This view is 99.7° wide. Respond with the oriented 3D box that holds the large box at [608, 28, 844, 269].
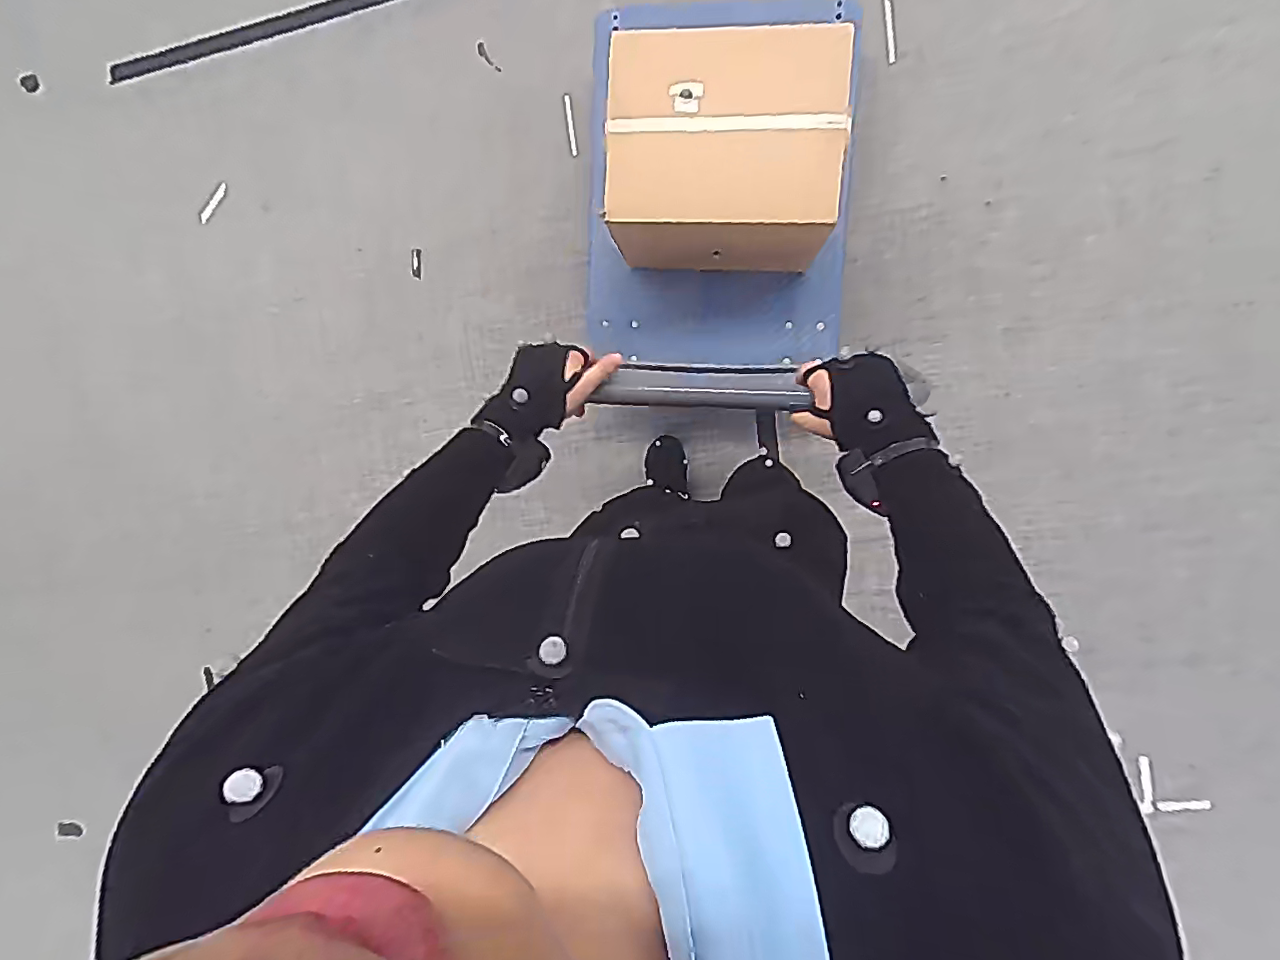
[{"bbox_3d":[0.165,-0.624,1.088,0.408,0.320,0.320,3,96,8],"label":"large box"}]
